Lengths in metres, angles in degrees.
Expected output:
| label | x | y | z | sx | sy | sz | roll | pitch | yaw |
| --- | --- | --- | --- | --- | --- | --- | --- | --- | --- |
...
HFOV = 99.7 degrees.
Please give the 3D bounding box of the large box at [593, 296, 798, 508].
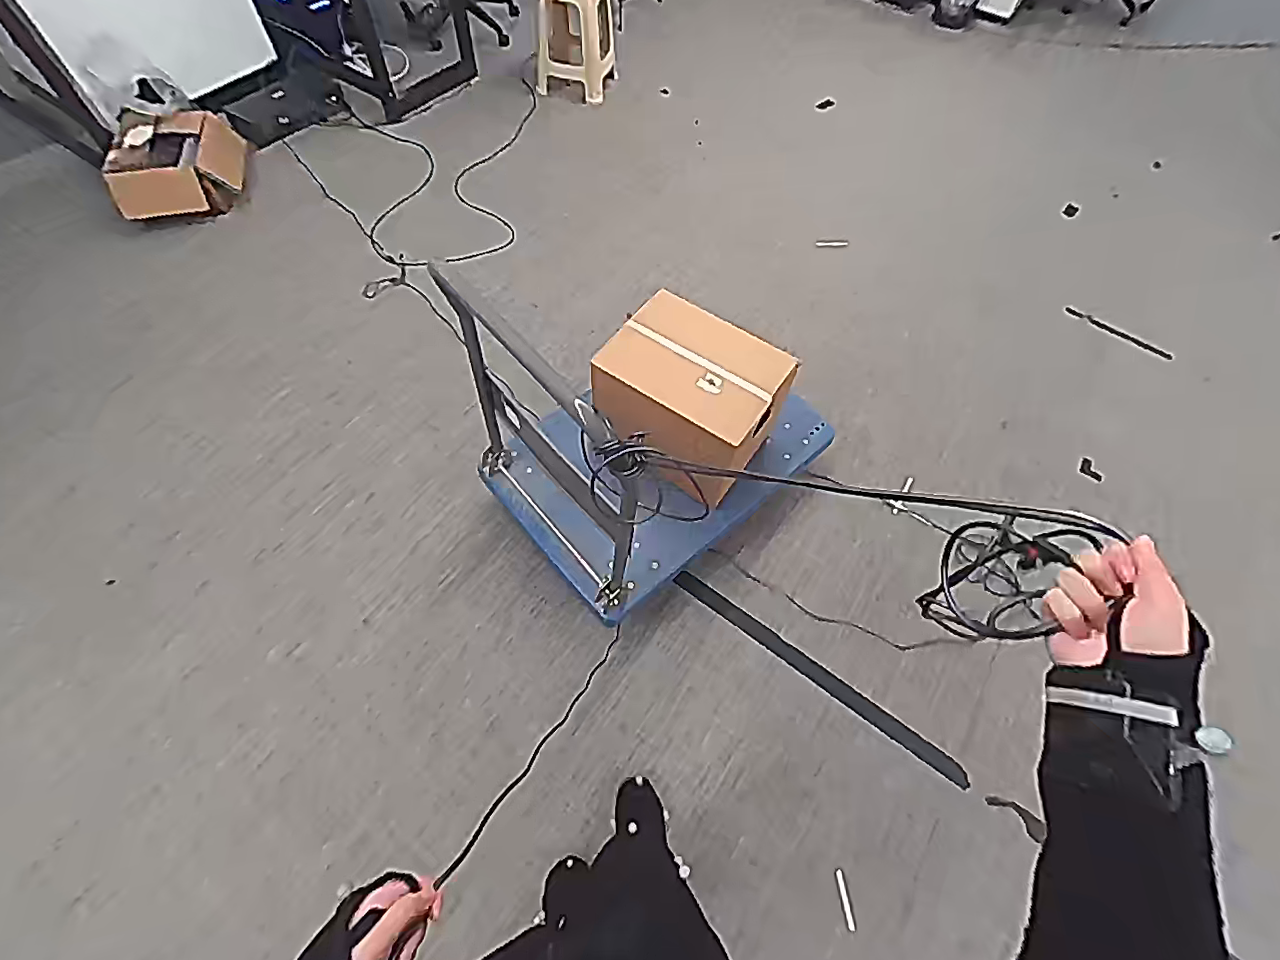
| label | x | y | z | sx | sy | sz | roll | pitch | yaw |
| --- | --- | --- | --- | --- | --- | --- | --- | --- | --- |
| large box | 0.123 | -0.198 | 1.408 | 0.408 | 0.320 | 0.320 | 32 | 64 | 13 |
